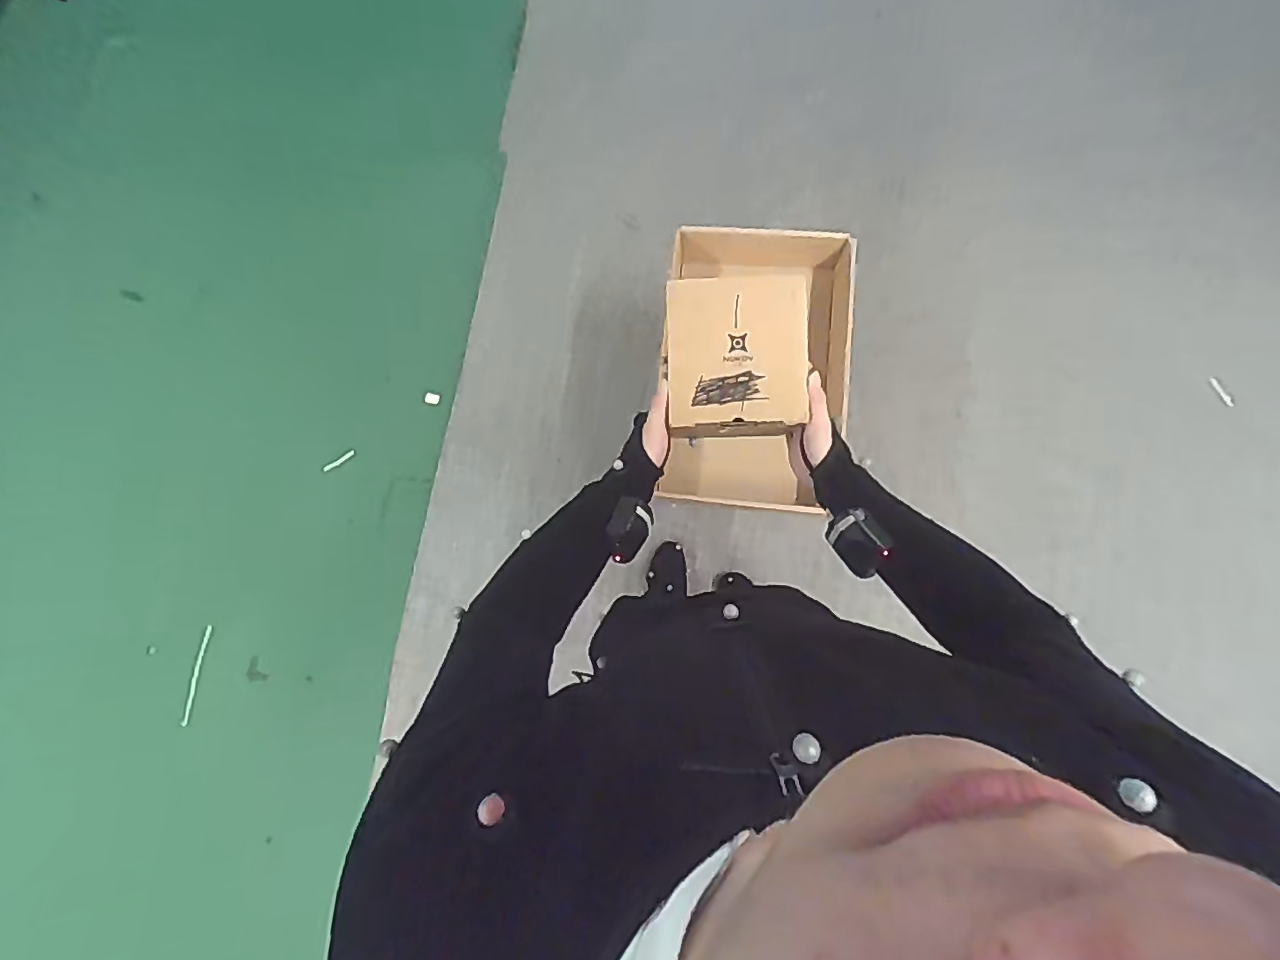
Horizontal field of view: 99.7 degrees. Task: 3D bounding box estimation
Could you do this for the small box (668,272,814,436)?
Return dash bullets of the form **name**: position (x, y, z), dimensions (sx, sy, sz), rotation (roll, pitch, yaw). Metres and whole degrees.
- **small box**: position (0.122, -0.150, 0.705), dimensions (0.168, 0.176, 0.179), rotation (-2, 89, 3)
